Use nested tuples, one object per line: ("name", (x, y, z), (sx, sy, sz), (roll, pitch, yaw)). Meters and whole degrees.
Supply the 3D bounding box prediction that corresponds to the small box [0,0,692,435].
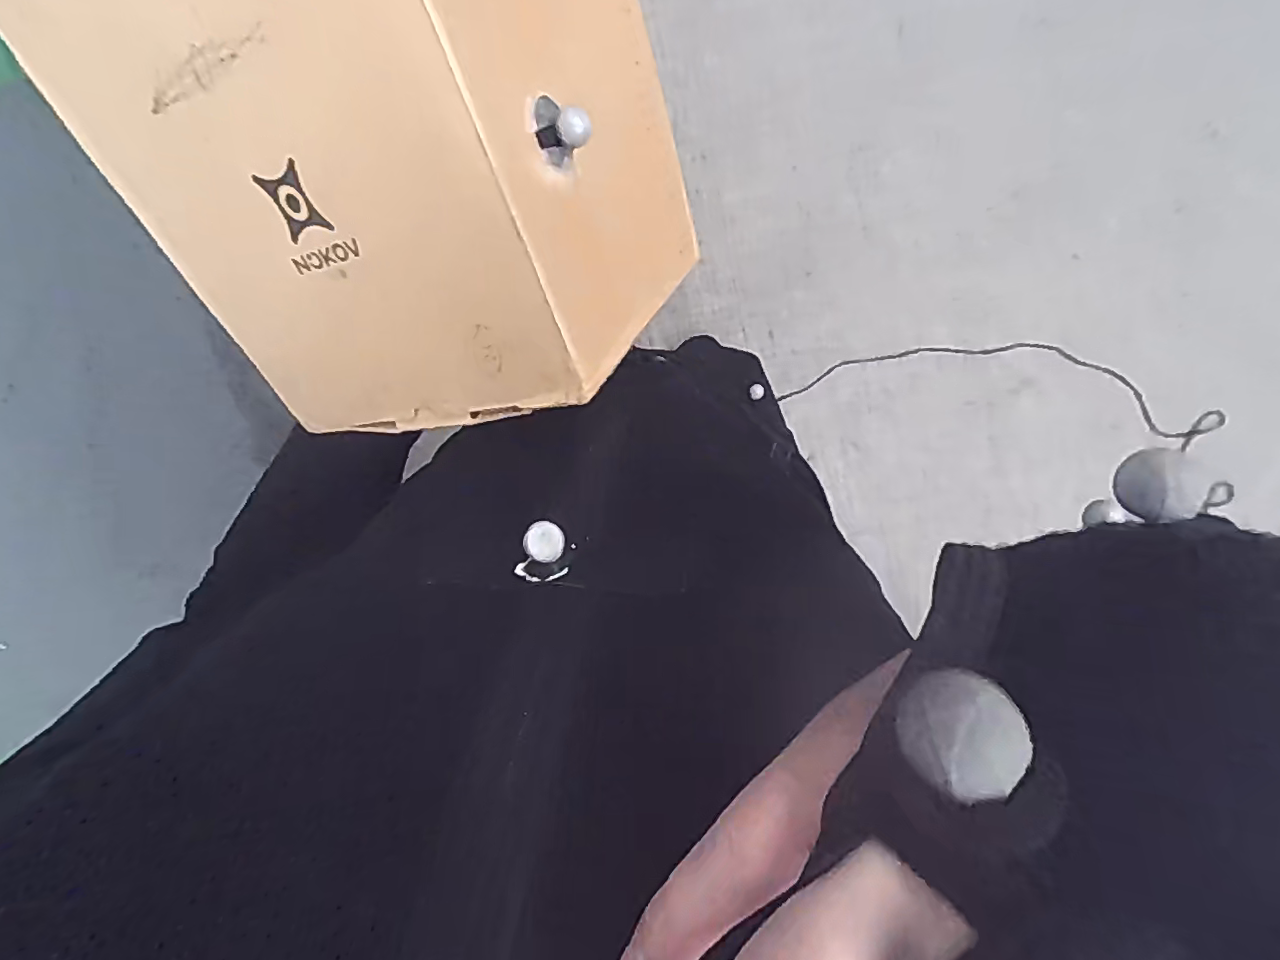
("small box", (-0.088, -0.142, 0.245), (0.168, 0.176, 0.179), (-3, 126, 26))
